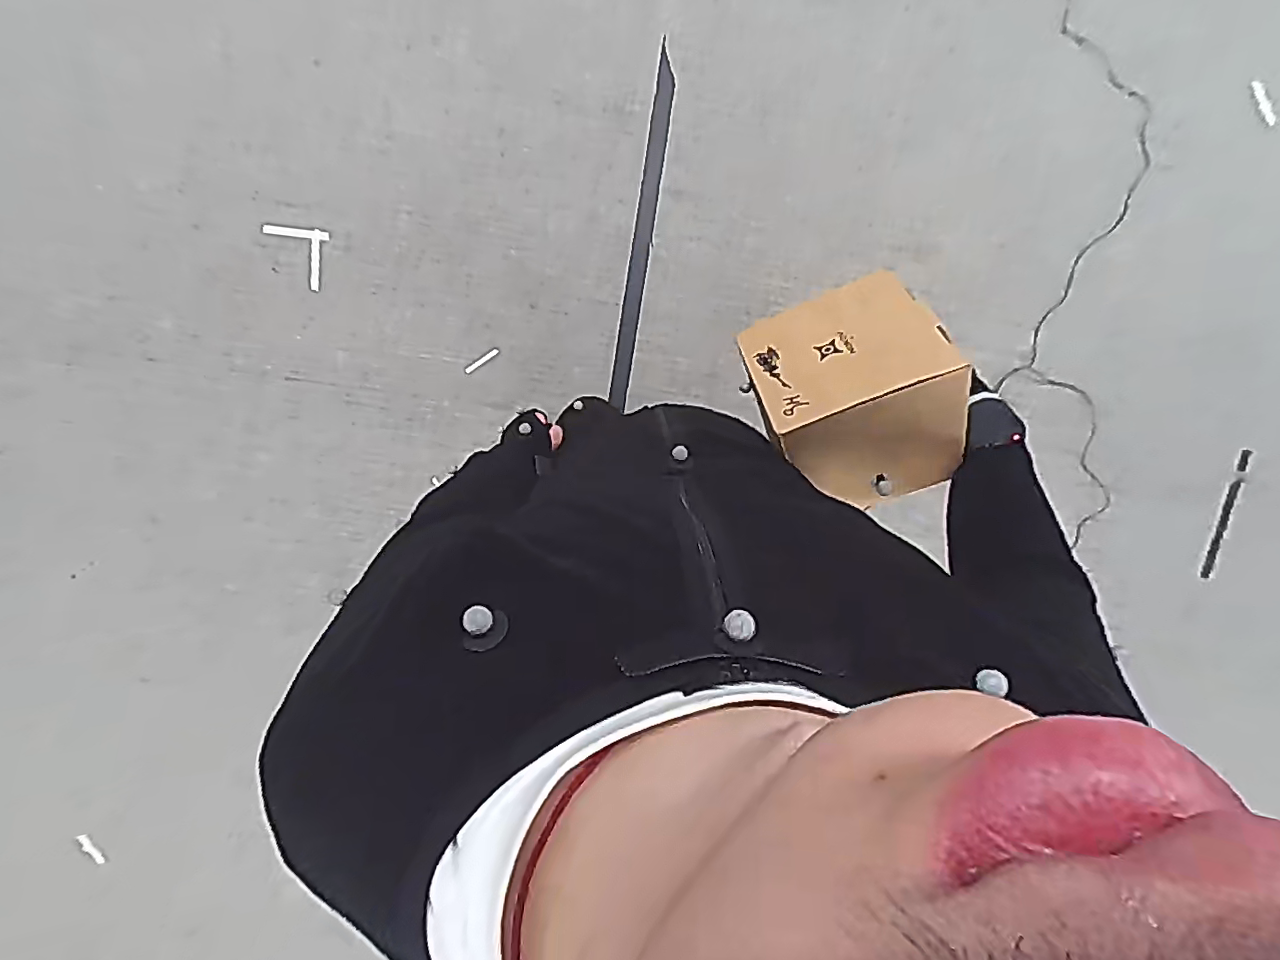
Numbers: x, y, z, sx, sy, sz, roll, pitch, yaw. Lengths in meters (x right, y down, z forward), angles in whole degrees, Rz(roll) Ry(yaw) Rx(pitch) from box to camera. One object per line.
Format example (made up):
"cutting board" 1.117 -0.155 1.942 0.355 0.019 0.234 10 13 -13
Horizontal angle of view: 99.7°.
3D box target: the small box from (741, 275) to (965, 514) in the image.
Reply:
"small box" 0.234 -0.090 0.613 0.179 0.168 0.176 -20 137 12
